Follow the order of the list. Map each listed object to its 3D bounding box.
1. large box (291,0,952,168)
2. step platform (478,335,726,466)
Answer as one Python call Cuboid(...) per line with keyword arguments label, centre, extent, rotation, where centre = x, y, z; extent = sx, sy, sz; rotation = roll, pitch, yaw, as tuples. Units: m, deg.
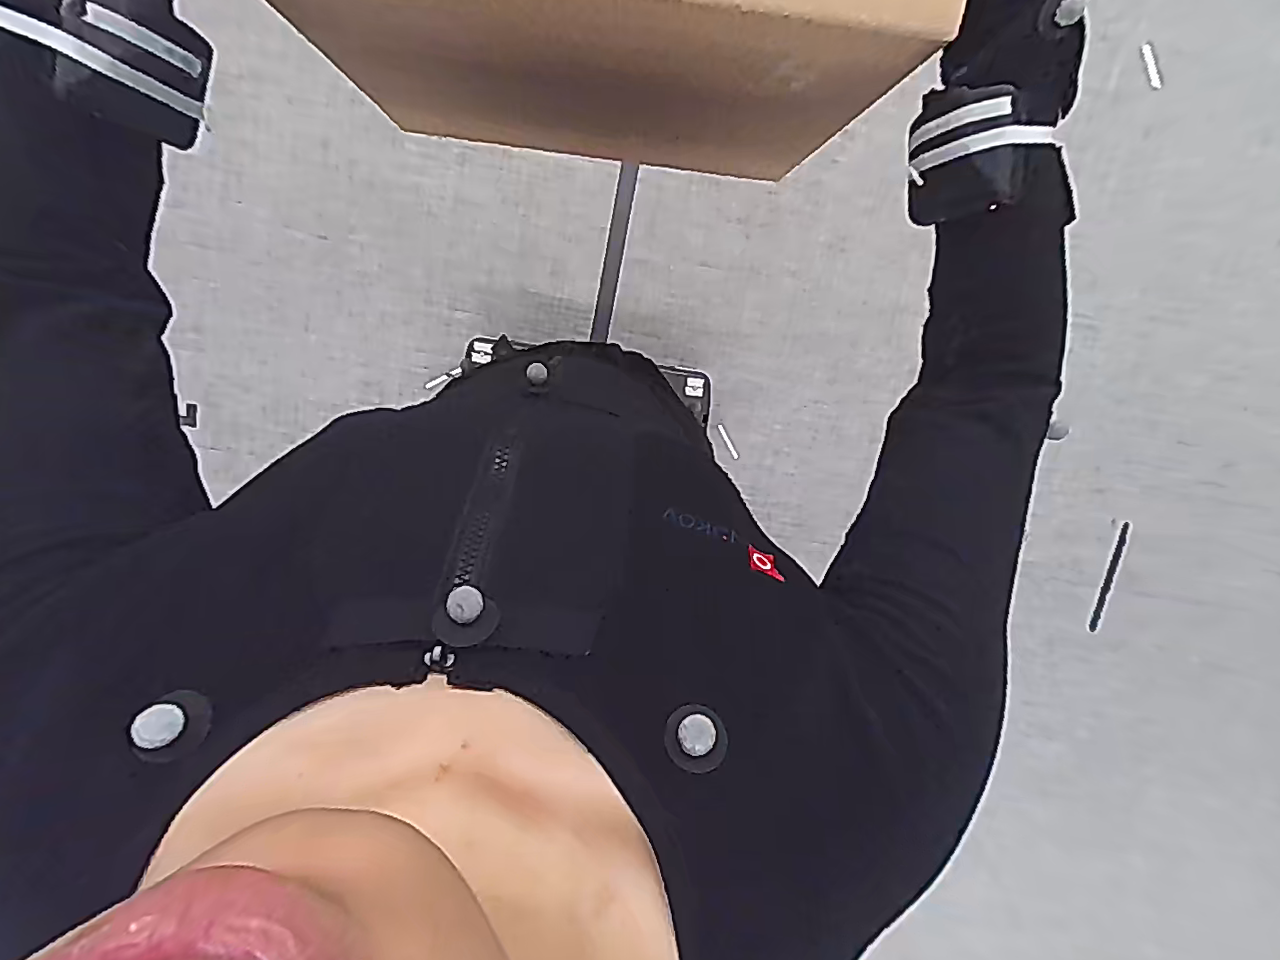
Cuboid(label="large box", centre=(-0.021, -0.455, 0.394), extent=(0.408, 0.320, 0.320), rotation=(4, 107, -6))
Cuboid(label="step platform", centre=(-0.106, -0.224, 1.534), extent=(0.684, 0.204, 0.286), rotation=(7, 101, -6))
